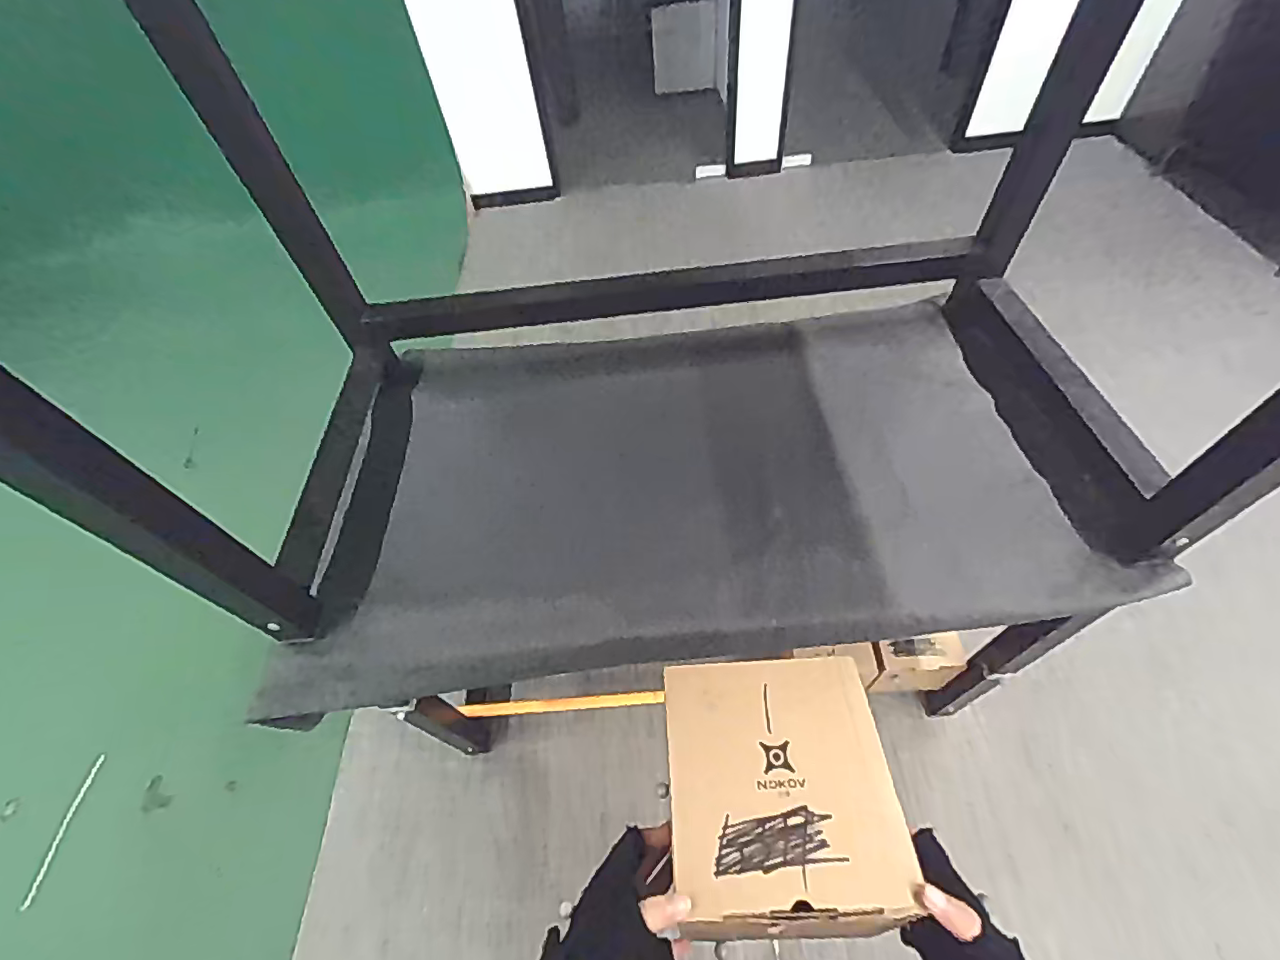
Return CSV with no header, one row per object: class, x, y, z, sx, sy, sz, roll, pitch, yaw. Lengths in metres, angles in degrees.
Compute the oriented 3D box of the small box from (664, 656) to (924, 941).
small box,0.109,0.273,0.462,0.168,0.176,0.179,-4,43,3
